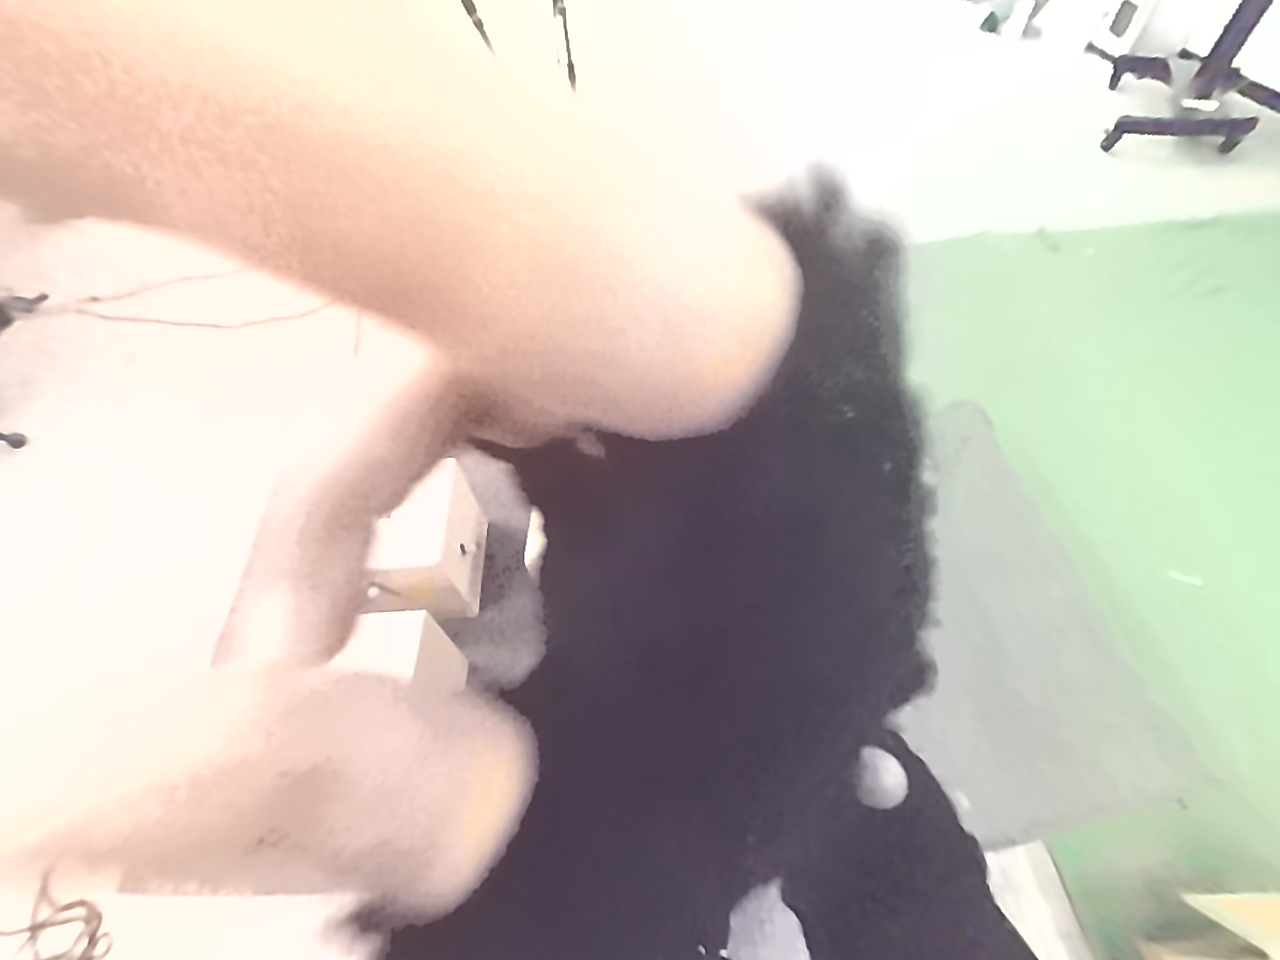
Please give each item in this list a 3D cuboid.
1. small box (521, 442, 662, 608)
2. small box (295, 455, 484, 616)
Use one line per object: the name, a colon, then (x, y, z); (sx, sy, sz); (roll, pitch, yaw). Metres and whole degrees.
small box: (-0.054, 0.068, 0.750); (0.168, 0.176, 0.179); (-1, 53, 3)
small box: (-0.331, 0.085, 0.761); (0.179, 0.176, 0.168); (-6, 54, 1)
